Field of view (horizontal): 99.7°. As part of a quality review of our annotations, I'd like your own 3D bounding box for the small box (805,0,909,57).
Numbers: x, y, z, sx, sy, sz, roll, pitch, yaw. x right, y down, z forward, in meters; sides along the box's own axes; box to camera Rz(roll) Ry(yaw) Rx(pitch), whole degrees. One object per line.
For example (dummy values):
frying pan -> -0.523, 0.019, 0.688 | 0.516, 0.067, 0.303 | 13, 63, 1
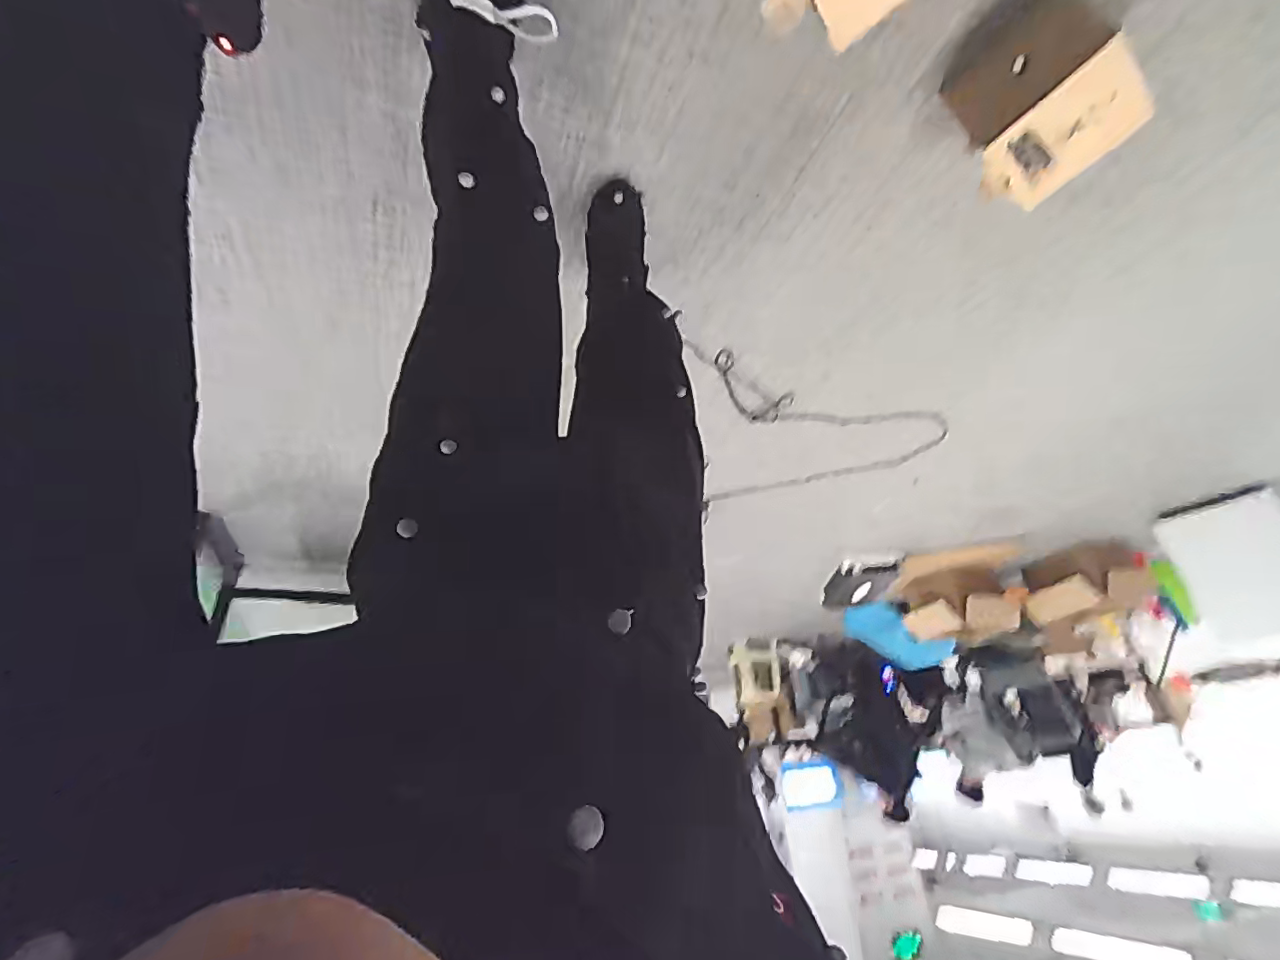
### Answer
small box -> 0.245, -0.640, 0.594 | 0.179, 0.176, 0.168 | -26, 145, 33
